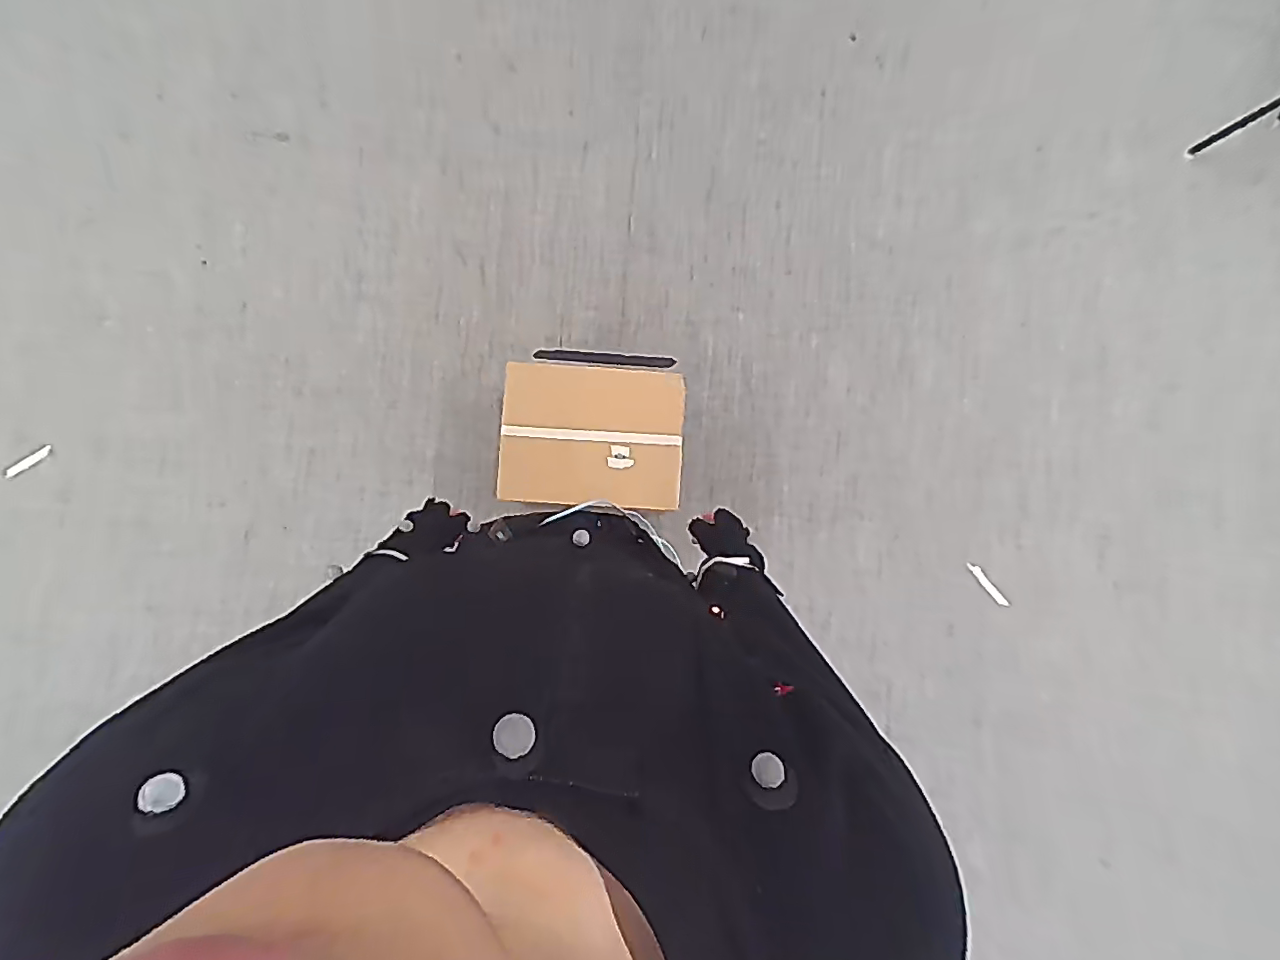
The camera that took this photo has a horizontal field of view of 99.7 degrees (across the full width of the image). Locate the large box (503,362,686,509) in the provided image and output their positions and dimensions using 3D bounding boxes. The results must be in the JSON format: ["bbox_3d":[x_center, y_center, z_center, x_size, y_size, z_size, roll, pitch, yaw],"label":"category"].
[{"bbox_3d":[-0.110,-0.092,1.365,0.408,0.320,0.320,4,86,-3],"label":"large box"}]
